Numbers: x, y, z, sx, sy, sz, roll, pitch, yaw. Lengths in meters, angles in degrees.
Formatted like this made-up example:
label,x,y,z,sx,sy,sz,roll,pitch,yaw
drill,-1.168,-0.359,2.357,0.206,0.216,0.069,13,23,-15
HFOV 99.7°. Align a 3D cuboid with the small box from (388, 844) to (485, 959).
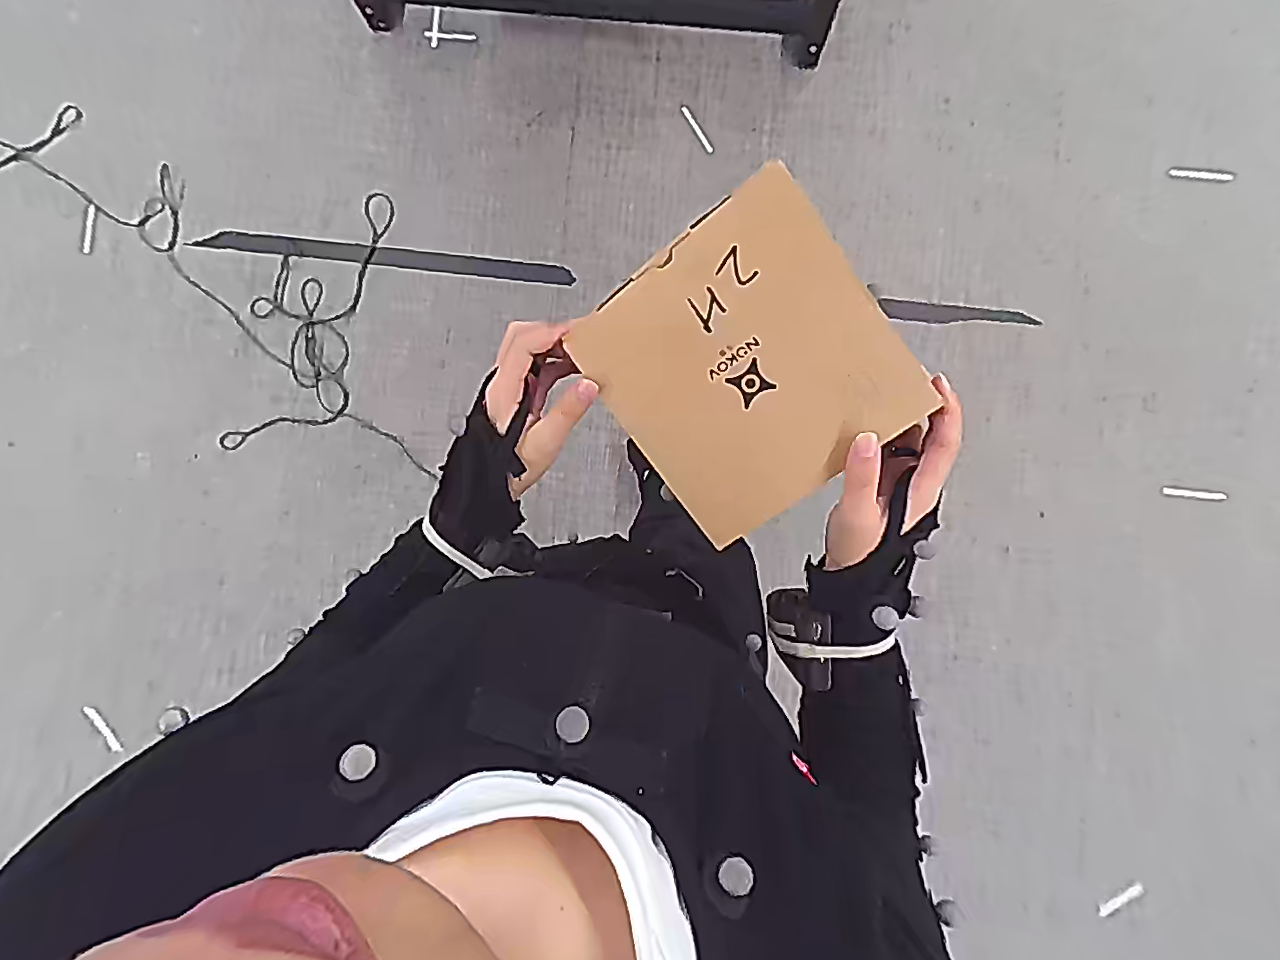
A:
label,x,y,z,sx,sy,sz,roll,pitch,yaw
small box,-0.481,1.021,1.298,0.168,0.176,0.179,3,88,2
